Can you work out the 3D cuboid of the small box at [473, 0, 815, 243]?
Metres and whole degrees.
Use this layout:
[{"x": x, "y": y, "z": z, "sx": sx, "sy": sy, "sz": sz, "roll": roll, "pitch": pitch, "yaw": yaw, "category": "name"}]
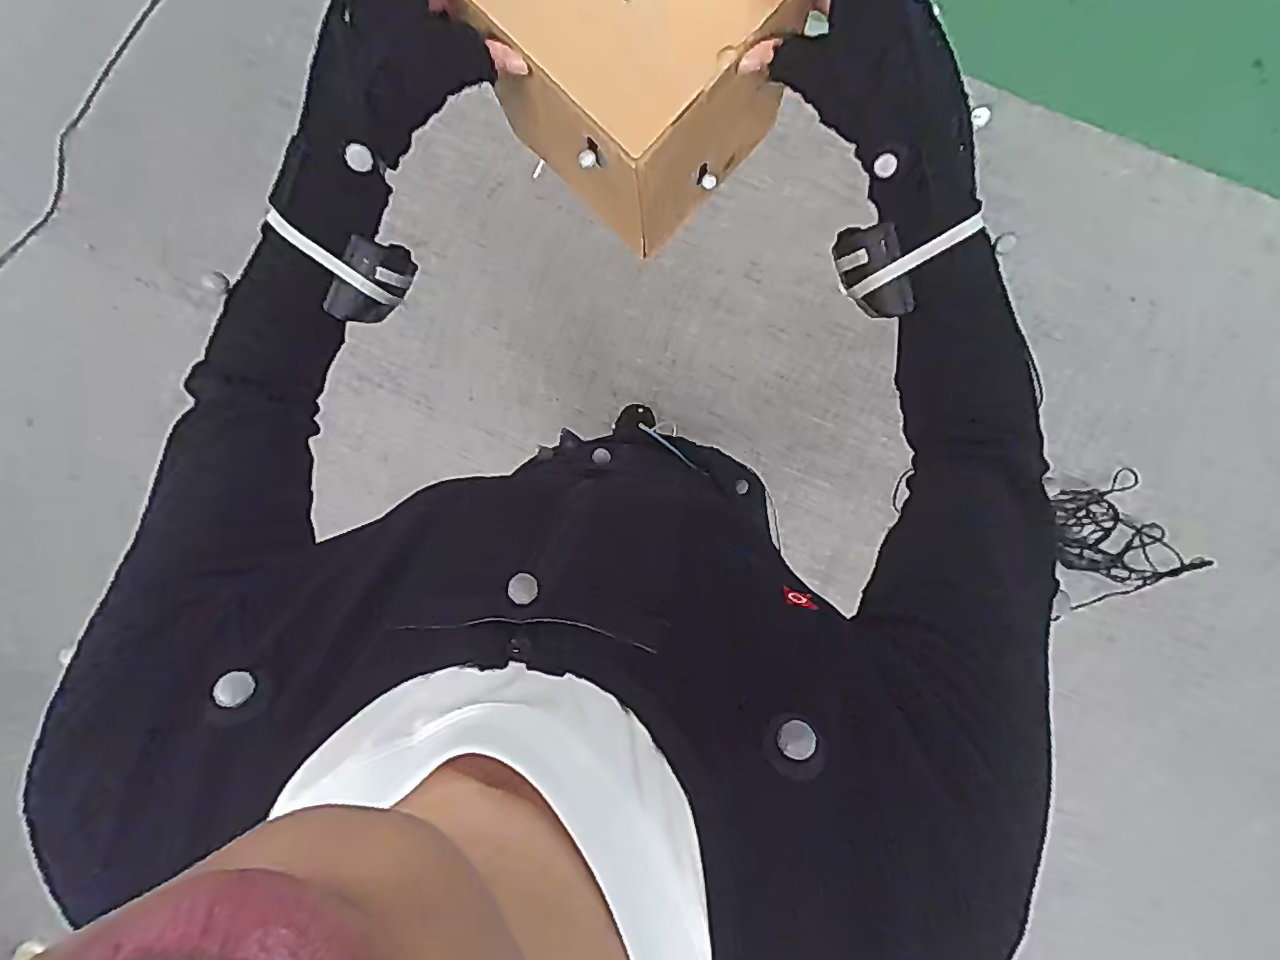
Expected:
[{"x": -0.001, "y": -0.322, "z": 0.415, "sx": 0.179, "sy": 0.176, "sz": 0.168, "roll": 45, "pitch": 94, "yaw": -2, "category": "small box"}]
